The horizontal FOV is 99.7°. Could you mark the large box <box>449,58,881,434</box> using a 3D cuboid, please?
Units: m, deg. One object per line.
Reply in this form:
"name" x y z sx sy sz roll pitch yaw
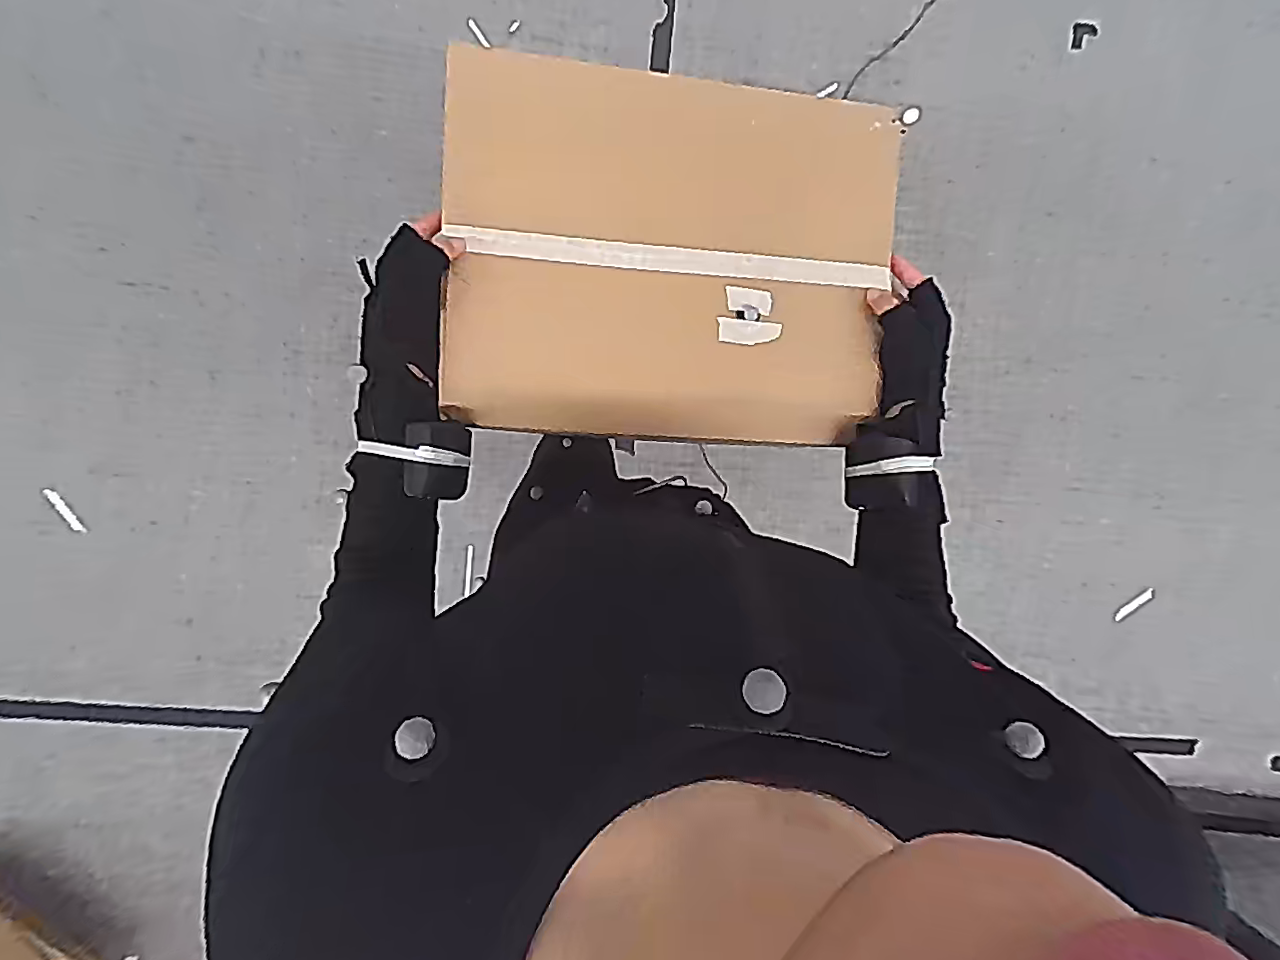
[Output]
"large box" 0.007 -0.216 0.644 0.408 0.320 0.320 2 95 -9
